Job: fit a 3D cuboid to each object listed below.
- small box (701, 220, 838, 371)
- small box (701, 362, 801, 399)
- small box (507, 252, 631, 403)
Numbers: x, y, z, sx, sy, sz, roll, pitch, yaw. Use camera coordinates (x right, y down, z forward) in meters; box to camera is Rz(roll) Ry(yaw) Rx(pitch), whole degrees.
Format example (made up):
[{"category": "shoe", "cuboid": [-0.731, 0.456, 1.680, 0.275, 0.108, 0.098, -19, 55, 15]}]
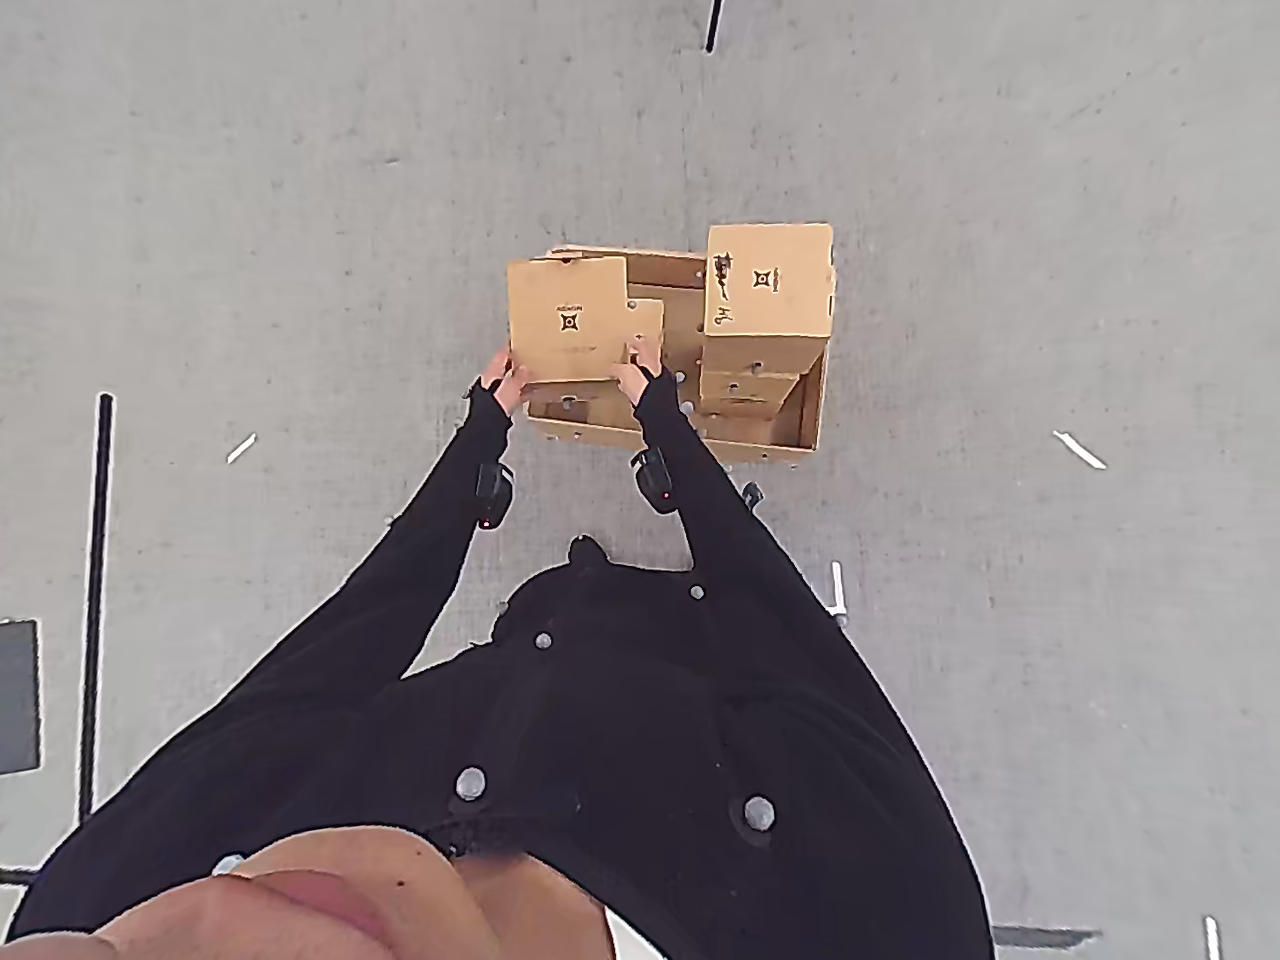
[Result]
[{"category": "small box", "cuboid": [0.187, -0.270, 0.822, 0.179, 0.176, 0.168, 3, 84, 6]}, {"category": "small box", "cuboid": [0.201, -0.252, 0.985, 0.168, 0.176, 0.179, 5, 85, 6]}, {"category": "small box", "cuboid": [-0.100, -0.219, 0.809, 0.168, 0.176, 0.179, -2, 88, -2]}]
